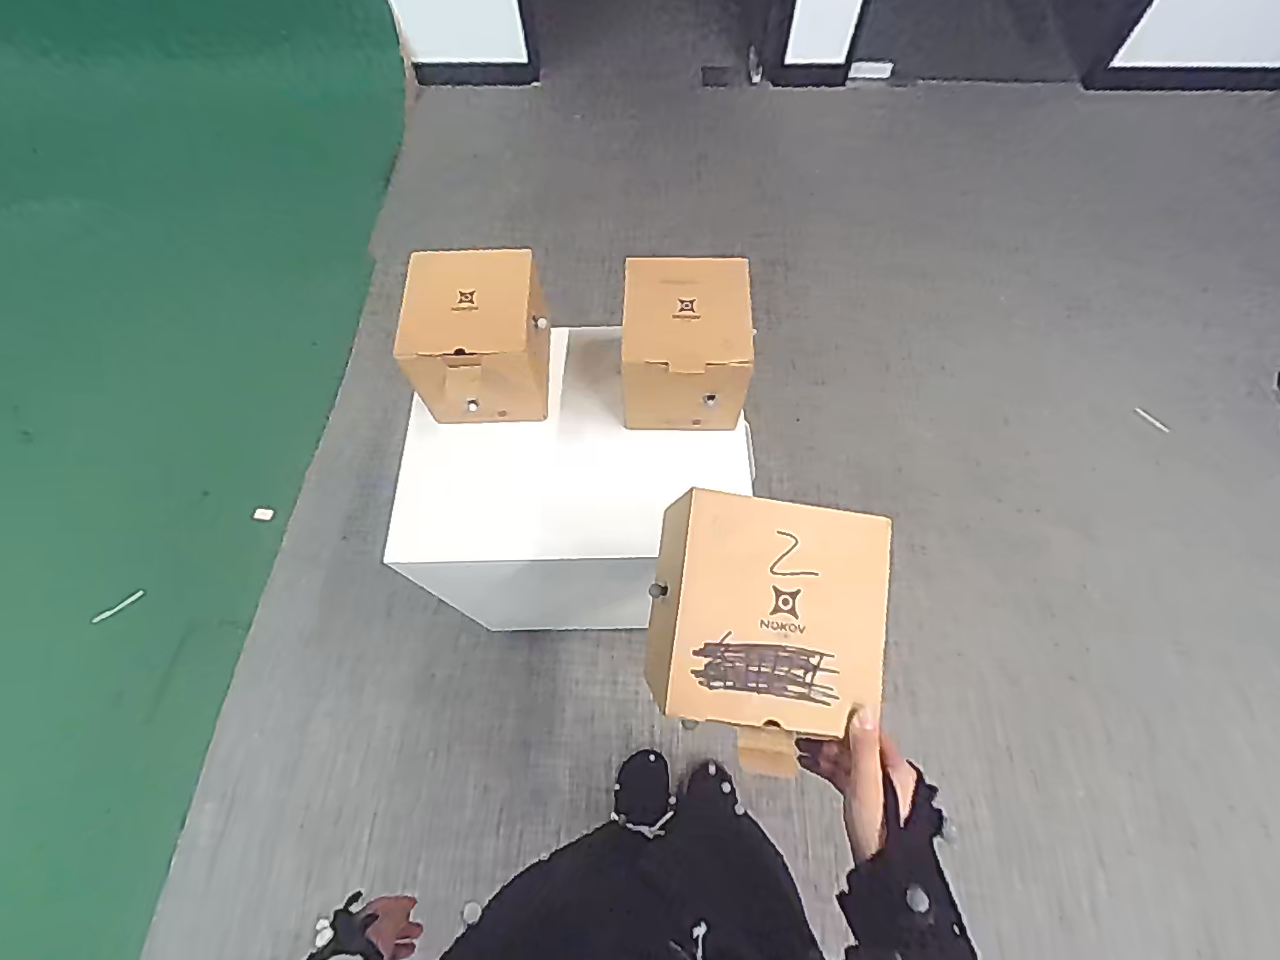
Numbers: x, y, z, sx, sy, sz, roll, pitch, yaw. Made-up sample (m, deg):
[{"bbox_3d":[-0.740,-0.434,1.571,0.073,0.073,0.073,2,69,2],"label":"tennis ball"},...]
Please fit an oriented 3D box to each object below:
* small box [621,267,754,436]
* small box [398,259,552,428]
[{"bbox_3d":[0.063,-0.174,0.765,0.168,0.176,0.179,1,65,1],"label":"small box"},{"bbox_3d":[-0.221,-0.191,0.777,0.168,0.176,0.179,-1,66,-1],"label":"small box"}]
